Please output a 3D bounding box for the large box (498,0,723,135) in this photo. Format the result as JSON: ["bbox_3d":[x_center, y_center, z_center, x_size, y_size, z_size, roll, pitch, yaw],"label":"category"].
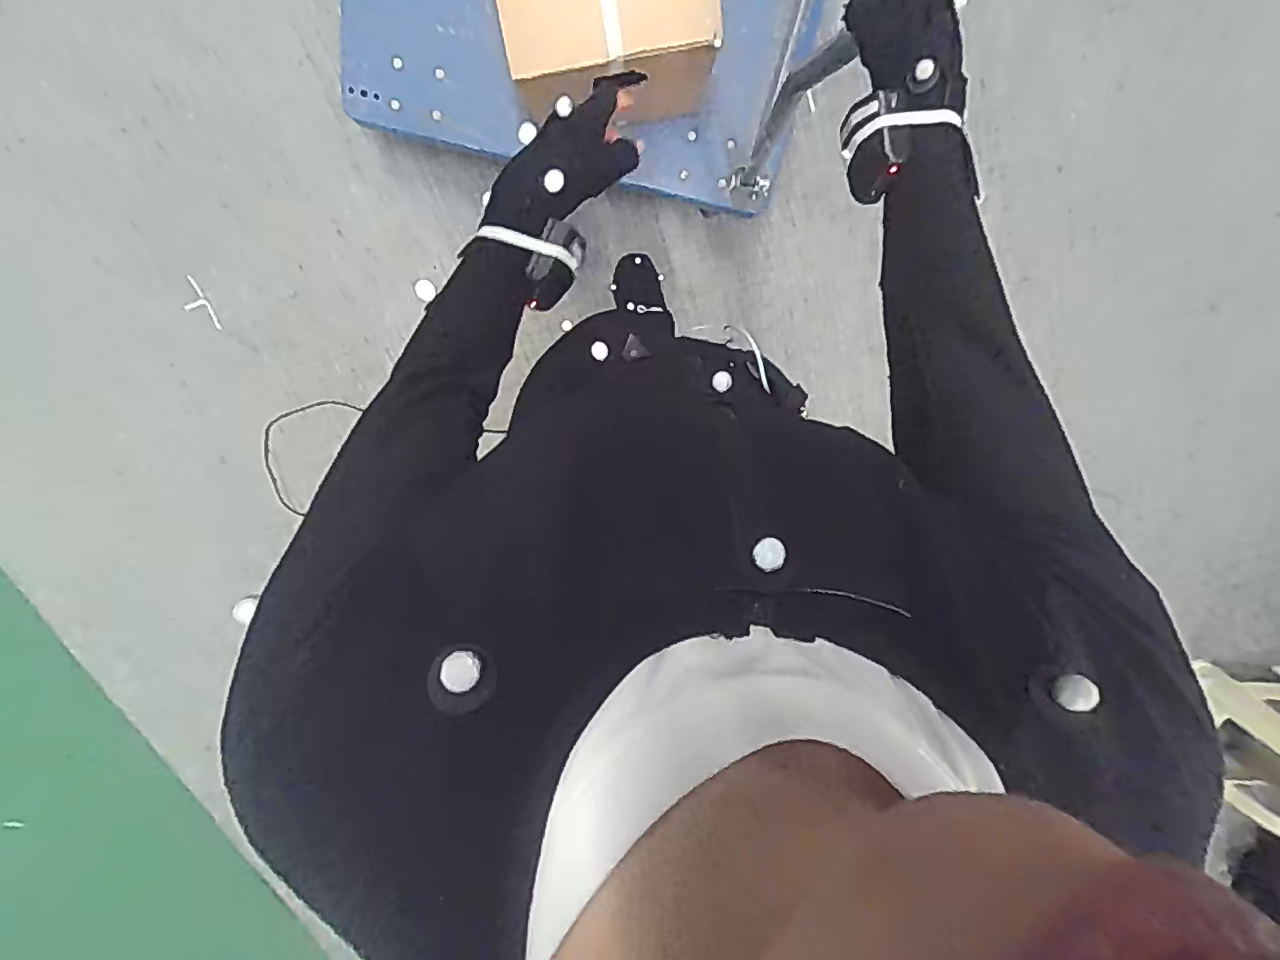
[{"bbox_3d":[-0.067,-0.838,0.860,0.320,0.320,0.408,-8,109,2],"label":"large box"}]
